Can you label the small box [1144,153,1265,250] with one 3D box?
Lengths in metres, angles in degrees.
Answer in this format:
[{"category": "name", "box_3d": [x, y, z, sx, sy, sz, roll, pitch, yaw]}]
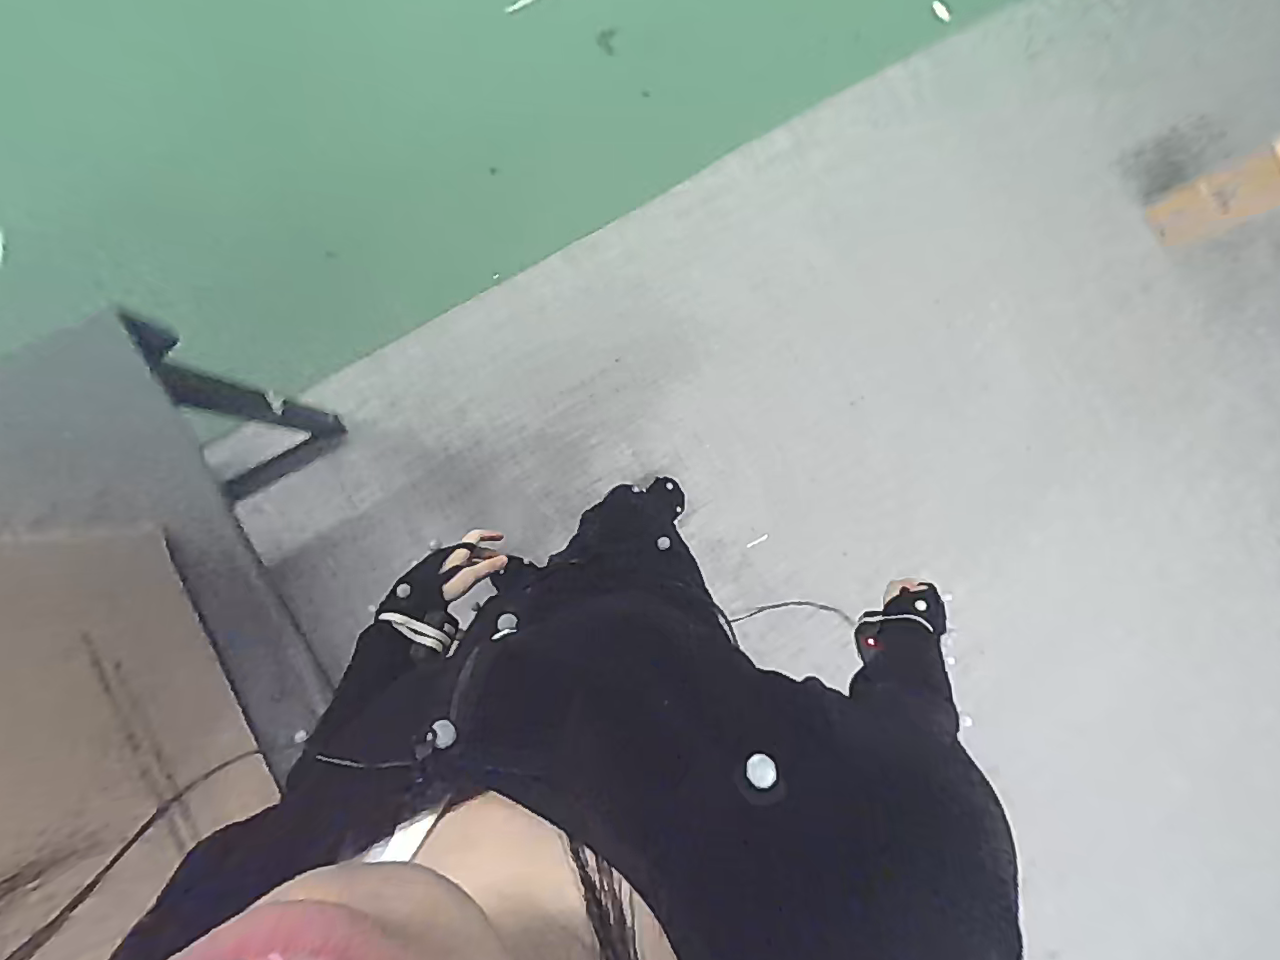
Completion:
[{"category": "small box", "box_3d": [1.694, -0.834, 1.641, 0.179, 0.176, 0.168, -31, 92, -5]}]
